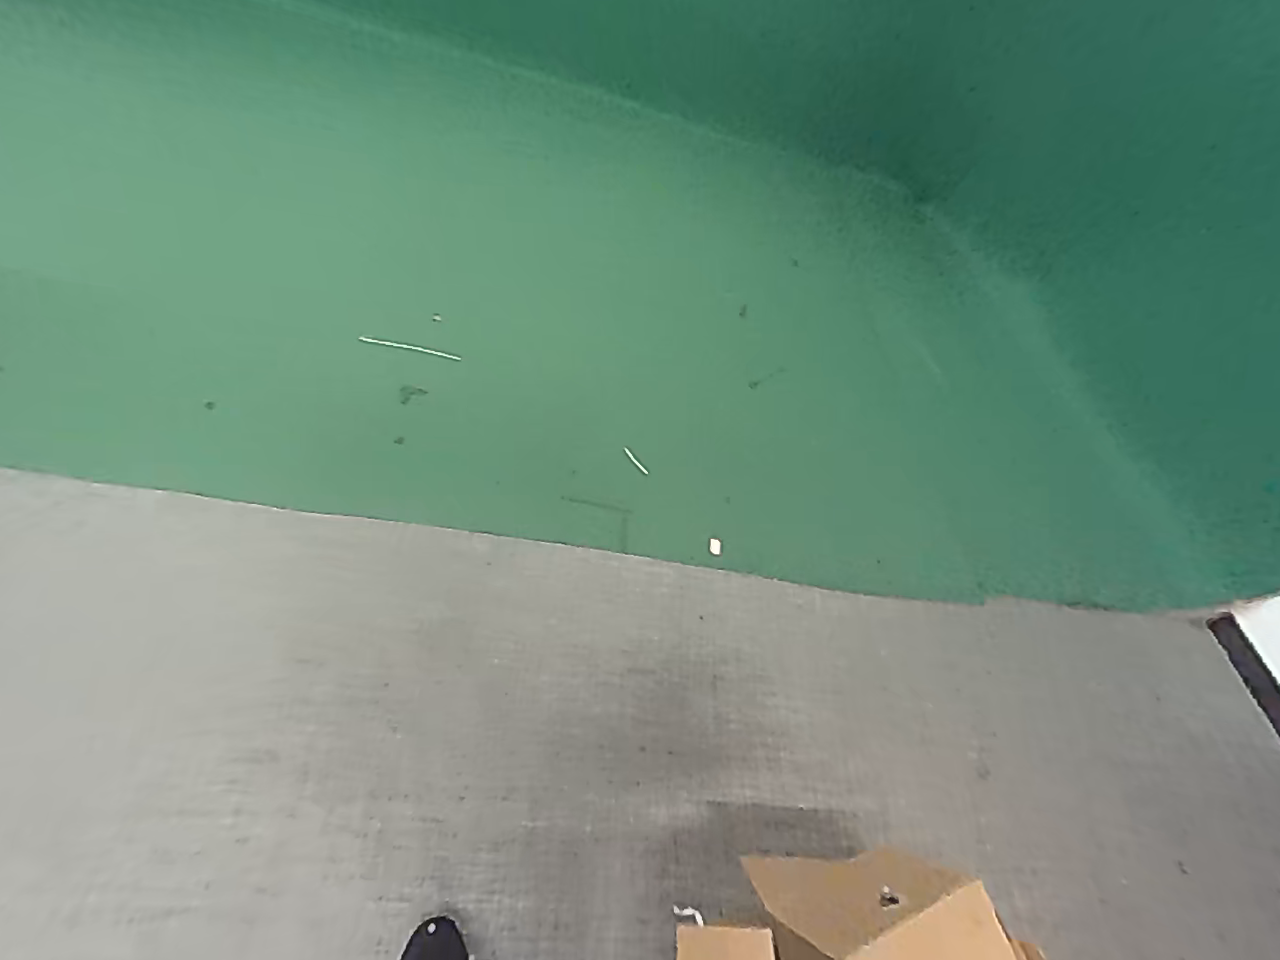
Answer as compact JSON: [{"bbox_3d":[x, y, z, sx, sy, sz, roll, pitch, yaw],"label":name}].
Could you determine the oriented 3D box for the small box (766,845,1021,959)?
[{"bbox_3d":[0.258,0.499,0.541,0.179,0.176,0.168,-14,69,-18],"label":"small box"}]
